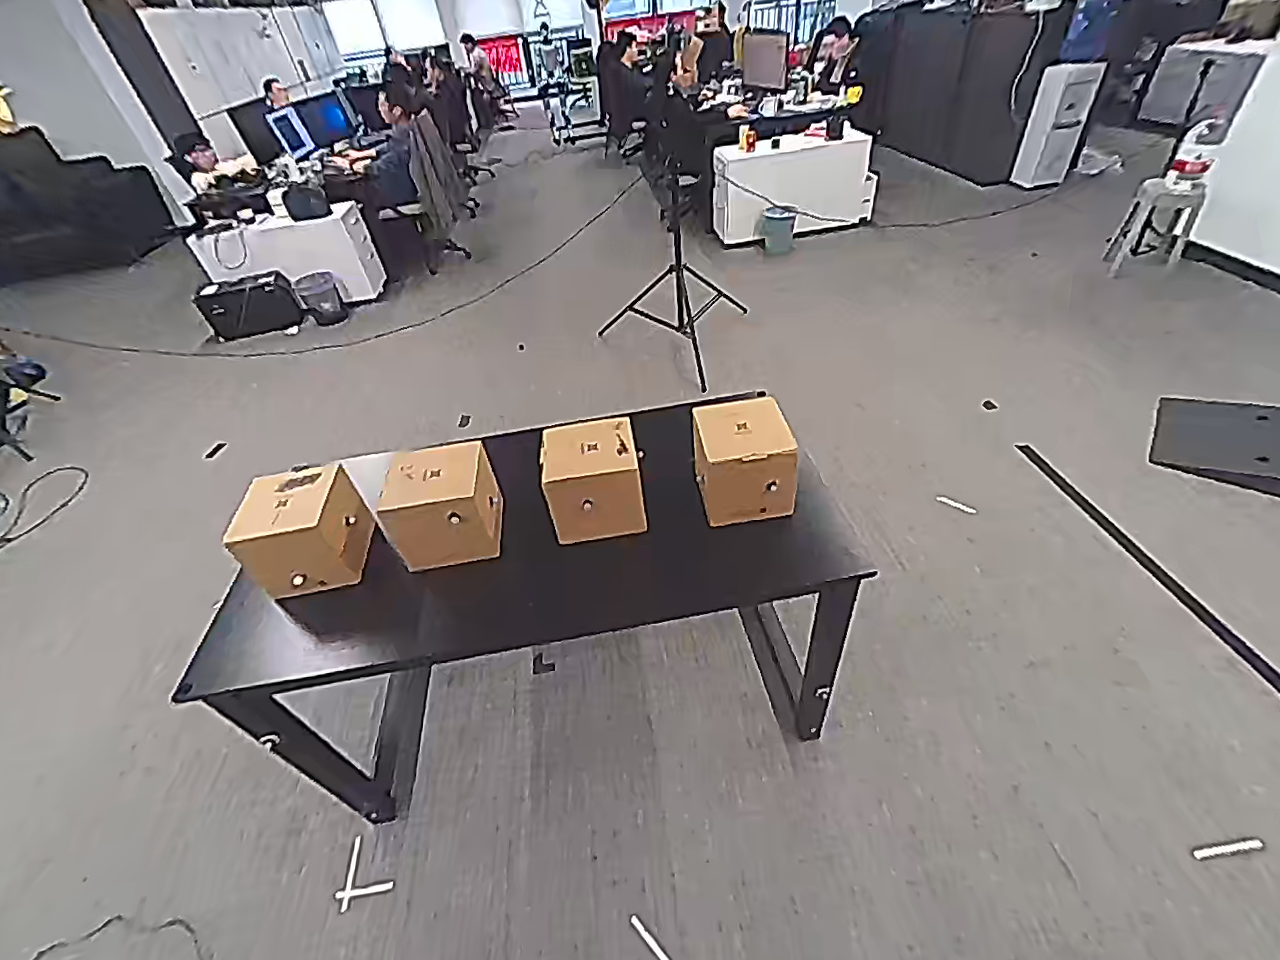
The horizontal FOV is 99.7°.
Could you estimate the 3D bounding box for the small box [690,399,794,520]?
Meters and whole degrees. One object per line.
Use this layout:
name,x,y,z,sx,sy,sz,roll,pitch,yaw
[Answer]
small box,0.196,-0.035,1.070,0.168,0.176,0.179,-8,41,-1

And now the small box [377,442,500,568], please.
small box,-0.381,0.051,1.061,0.179,0.176,0.168,-10,41,-3

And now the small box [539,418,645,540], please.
small box,-0.092,0.002,1.074,0.179,0.176,0.168,-9,42,0

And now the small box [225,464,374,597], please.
small box,-0.643,0.098,1.050,0.168,0.176,0.179,-11,43,-4
